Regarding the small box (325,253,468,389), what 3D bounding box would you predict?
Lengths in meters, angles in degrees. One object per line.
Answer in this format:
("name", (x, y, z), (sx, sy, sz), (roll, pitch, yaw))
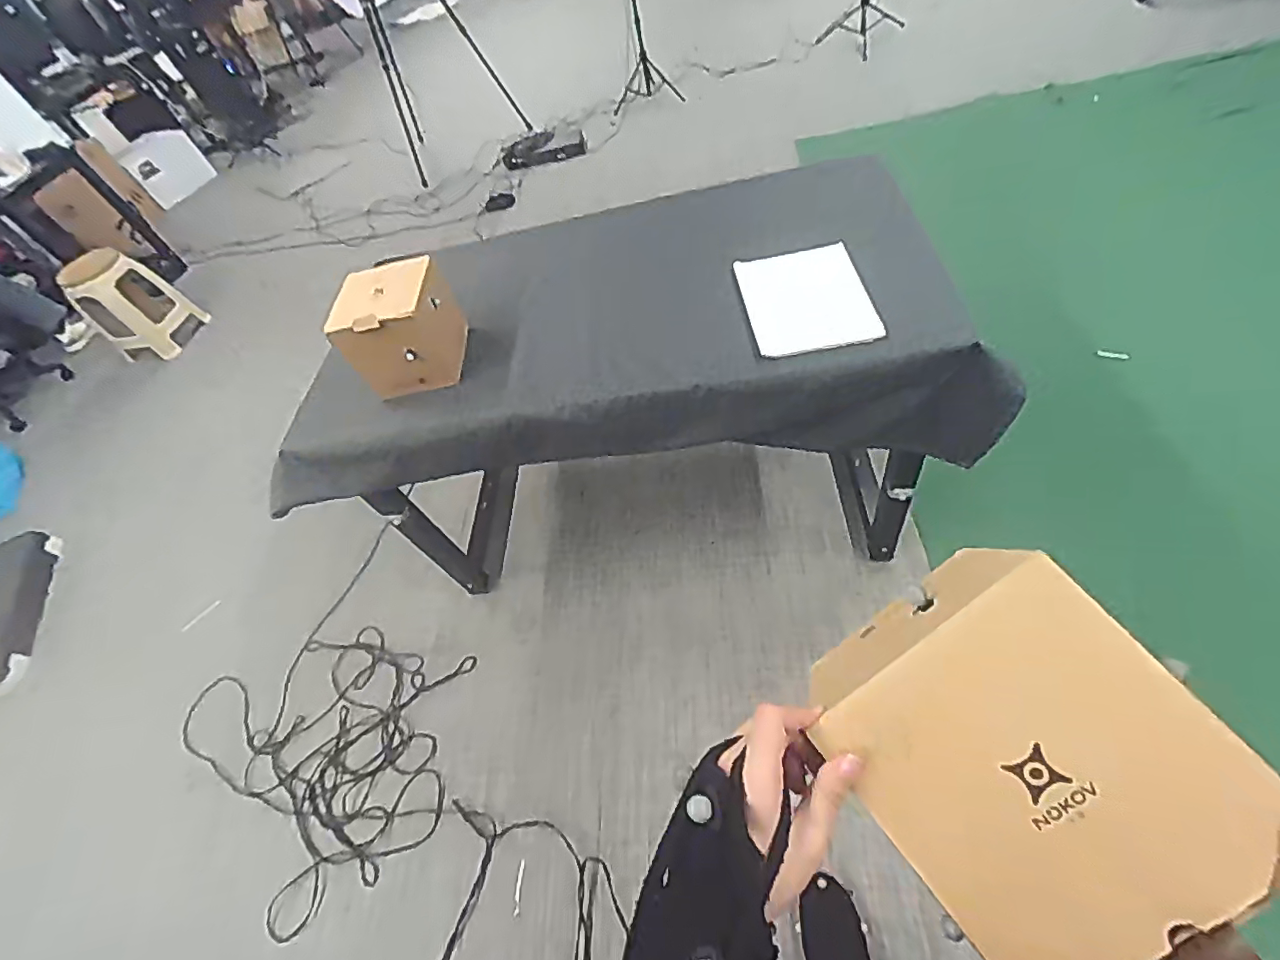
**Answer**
("small box", (-0.438, -0.287, 1.007), (0.168, 0.176, 0.179), (-10, 52, 6))
